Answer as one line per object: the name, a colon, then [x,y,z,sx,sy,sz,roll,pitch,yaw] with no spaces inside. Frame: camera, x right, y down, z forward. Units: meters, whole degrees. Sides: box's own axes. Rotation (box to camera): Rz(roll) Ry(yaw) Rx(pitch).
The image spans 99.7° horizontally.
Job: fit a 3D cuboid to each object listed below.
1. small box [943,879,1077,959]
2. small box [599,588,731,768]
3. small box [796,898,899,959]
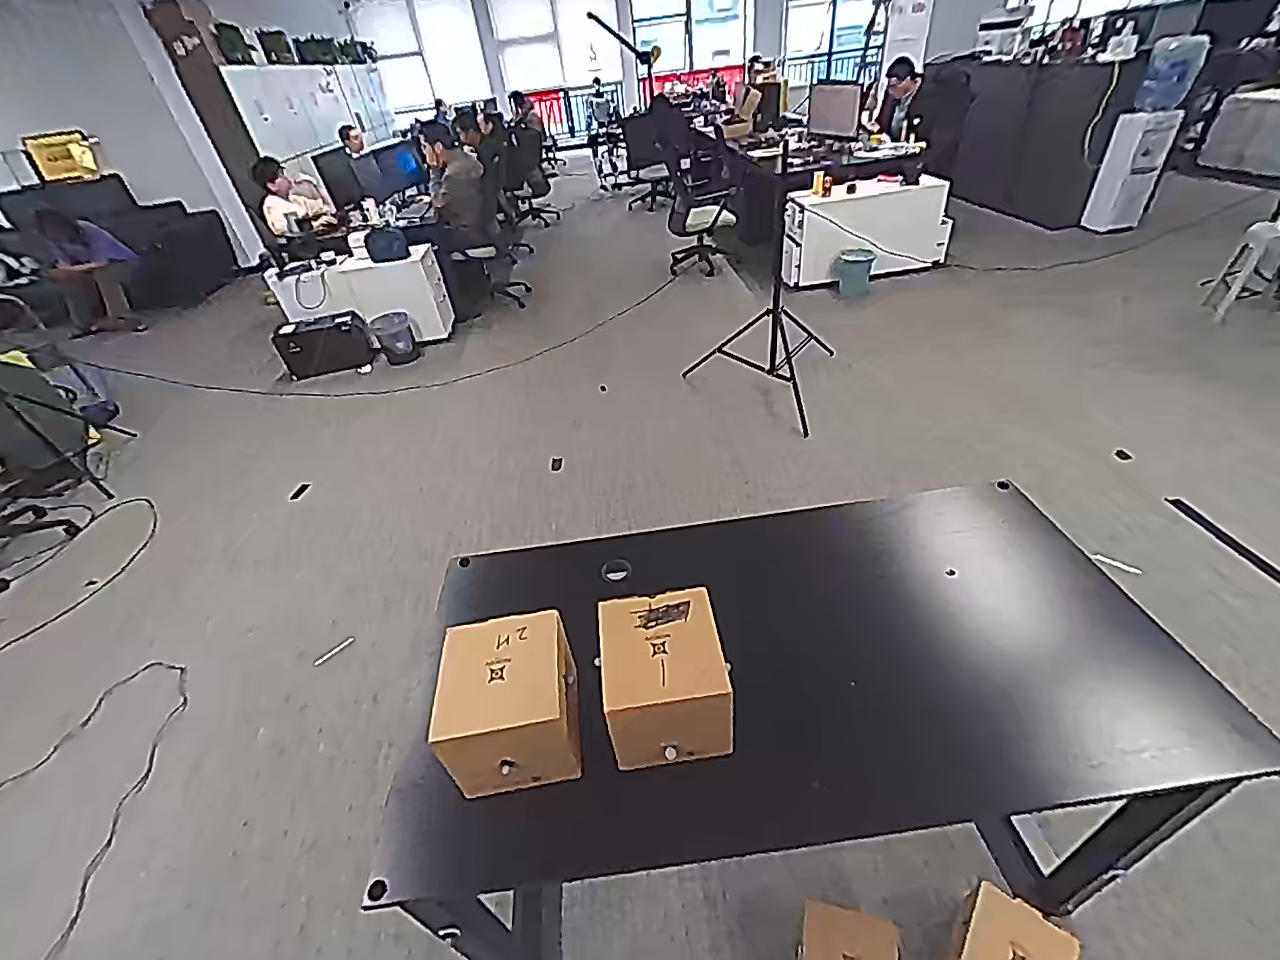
small box: [0.701,0.932,1.042,0.168,0.176,0.179,22,47,33]
small box: [0.034,0.288,0.792,0.168,0.176,0.179,-9,39,-1]
small box: [0.400,0.964,1.059,0.179,0.176,0.168,4,39,16]
